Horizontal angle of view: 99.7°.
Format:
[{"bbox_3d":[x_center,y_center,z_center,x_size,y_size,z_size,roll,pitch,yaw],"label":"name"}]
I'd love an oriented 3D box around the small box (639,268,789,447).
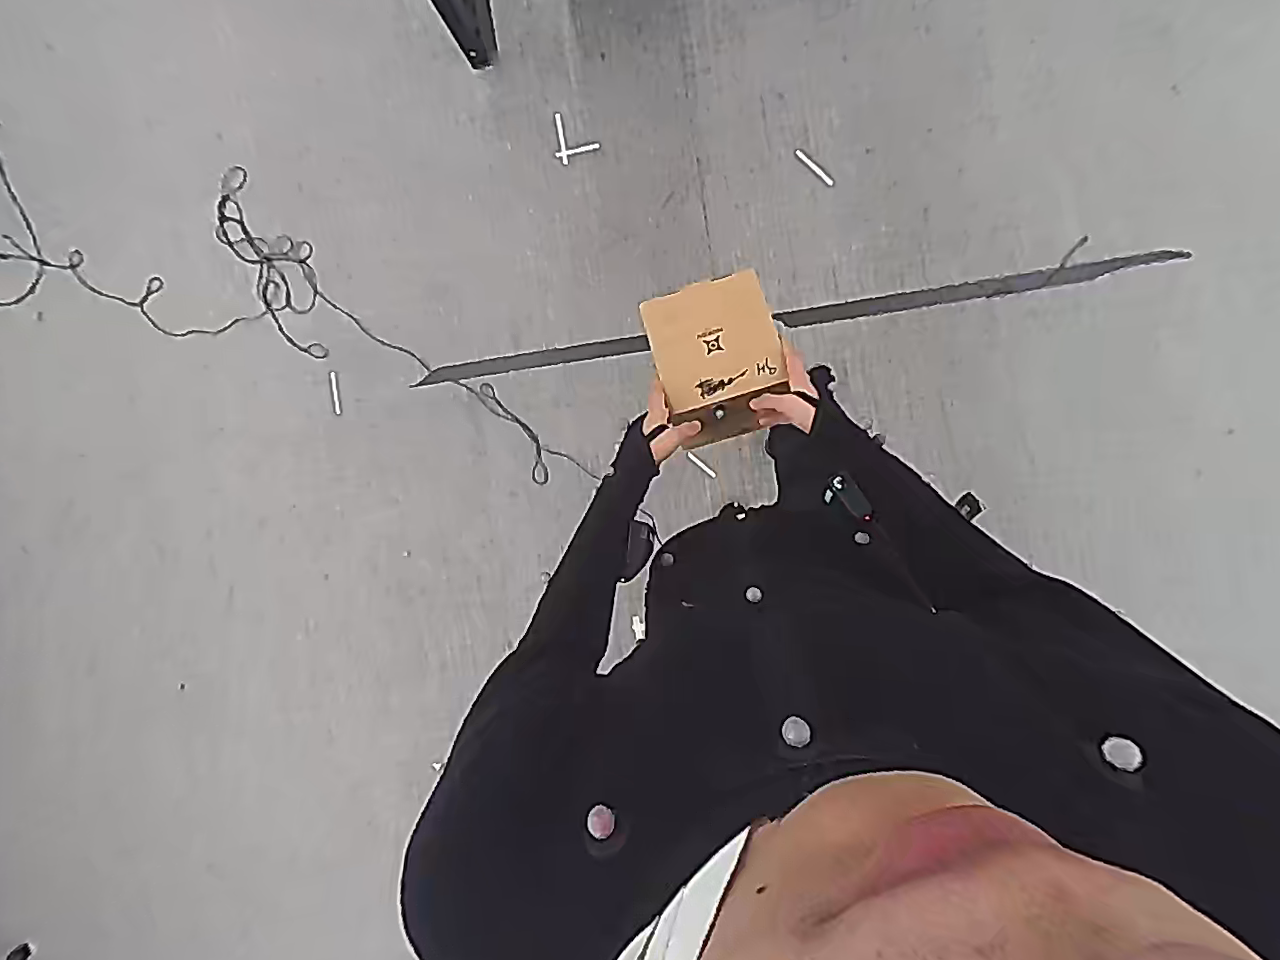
[{"bbox_3d":[0.106,-0.169,0.795,0.168,0.176,0.179,-16,75,6],"label":"small box"}]
